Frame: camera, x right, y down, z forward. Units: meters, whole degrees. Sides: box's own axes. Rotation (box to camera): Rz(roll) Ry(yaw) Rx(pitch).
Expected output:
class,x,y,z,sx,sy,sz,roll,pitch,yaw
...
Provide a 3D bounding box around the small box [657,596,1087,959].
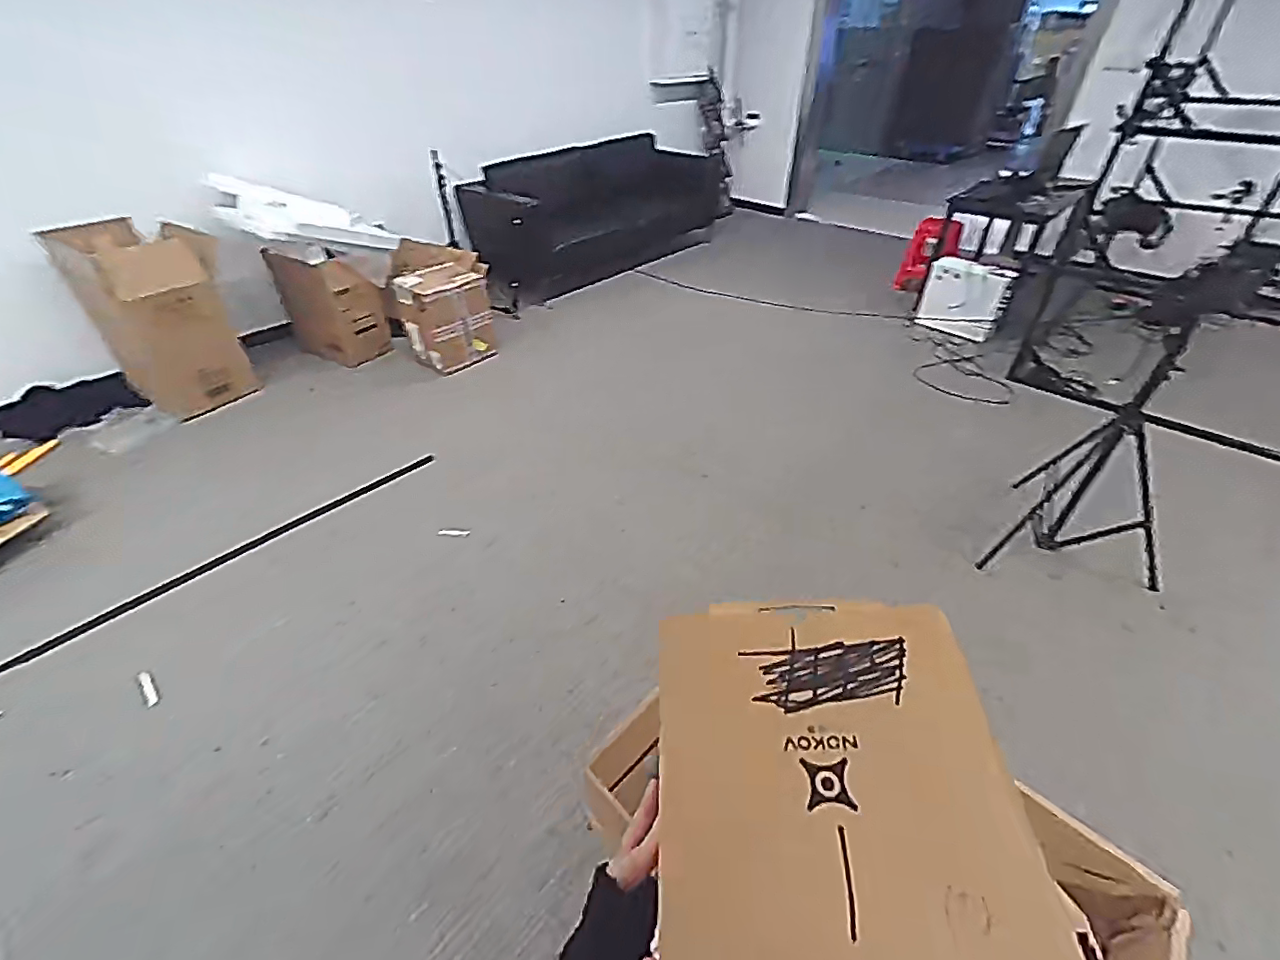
class,x,y,z,sx,sy,sz,roll,pitch,yaw
small box,0.099,0.191,0.322,0.168,0.176,0.179,-4,43,6
